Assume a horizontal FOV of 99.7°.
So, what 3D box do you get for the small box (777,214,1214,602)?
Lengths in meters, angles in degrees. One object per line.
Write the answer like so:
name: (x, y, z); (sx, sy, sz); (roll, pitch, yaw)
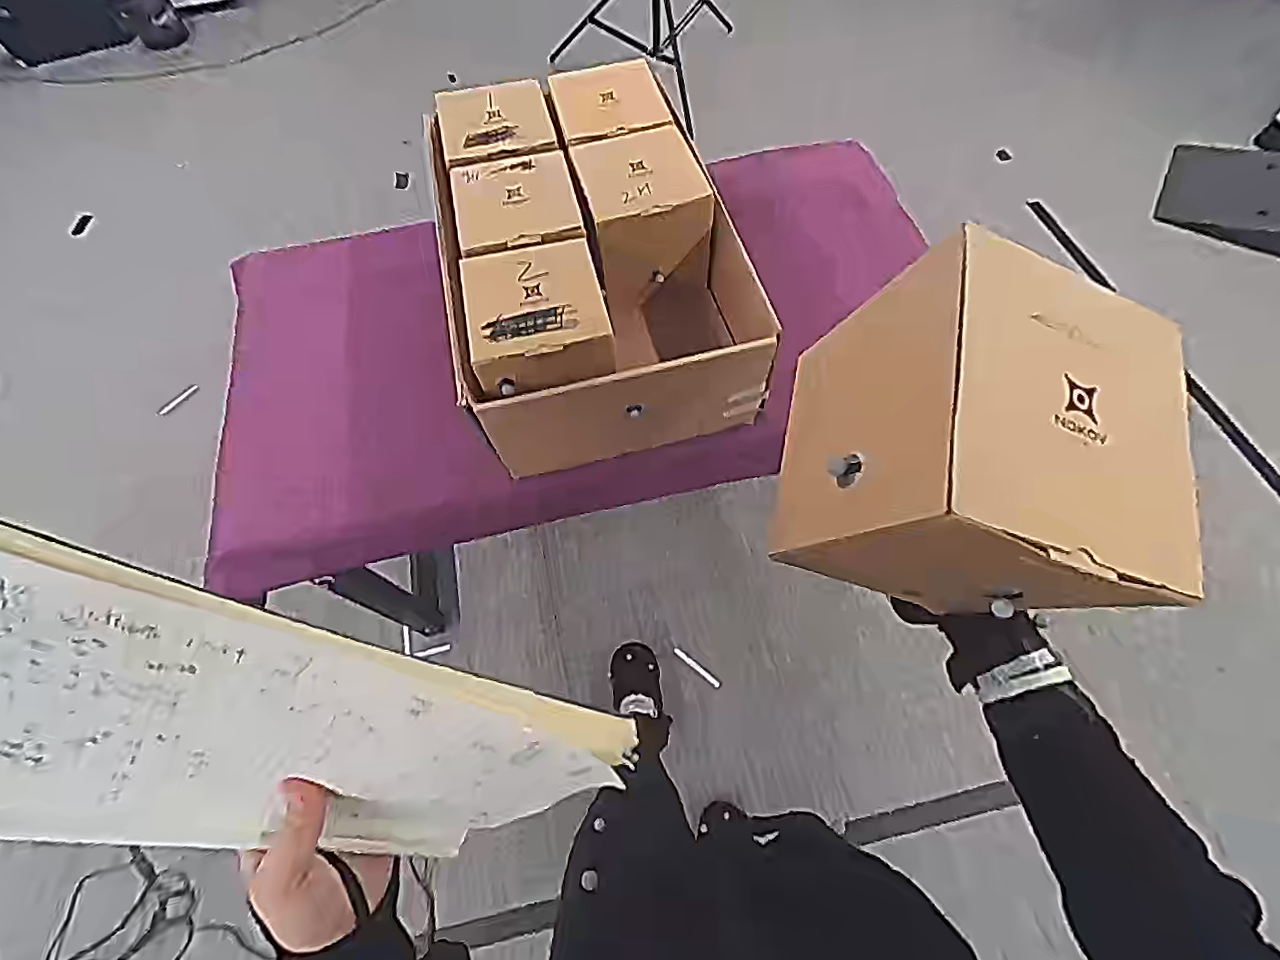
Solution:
small box: (0.209, -0.023, 0.357); (0.168, 0.176, 0.179); (18, 71, -13)
